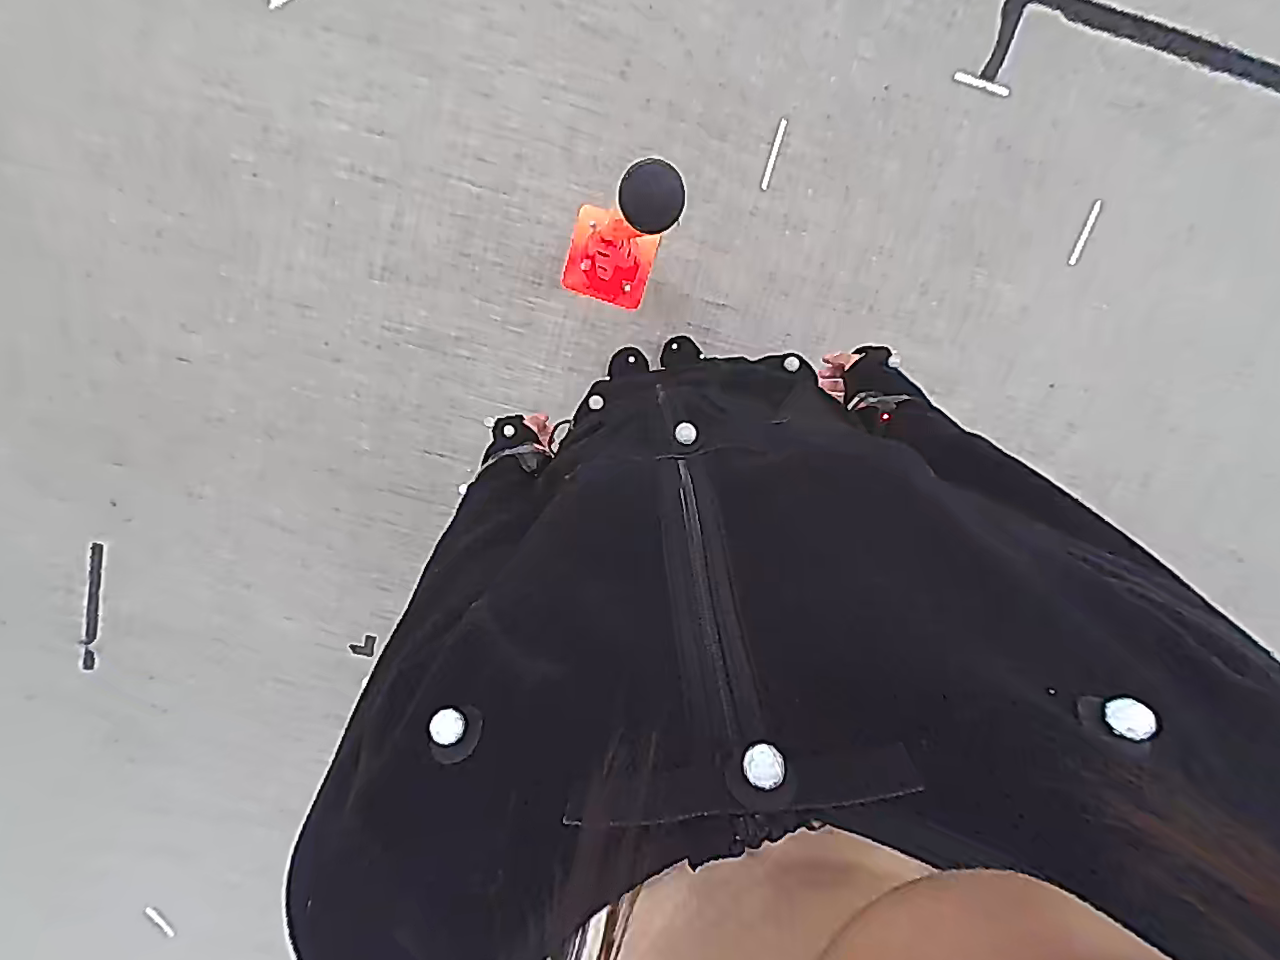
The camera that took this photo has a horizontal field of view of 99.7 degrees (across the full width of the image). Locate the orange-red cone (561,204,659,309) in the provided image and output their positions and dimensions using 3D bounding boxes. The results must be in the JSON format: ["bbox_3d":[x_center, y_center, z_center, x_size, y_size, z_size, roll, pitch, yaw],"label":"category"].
[{"bbox_3d":[-0.064,-0.485,1.119,0.198,0.360,0.199,18,103,-7],"label":"orange-red cone"}]
